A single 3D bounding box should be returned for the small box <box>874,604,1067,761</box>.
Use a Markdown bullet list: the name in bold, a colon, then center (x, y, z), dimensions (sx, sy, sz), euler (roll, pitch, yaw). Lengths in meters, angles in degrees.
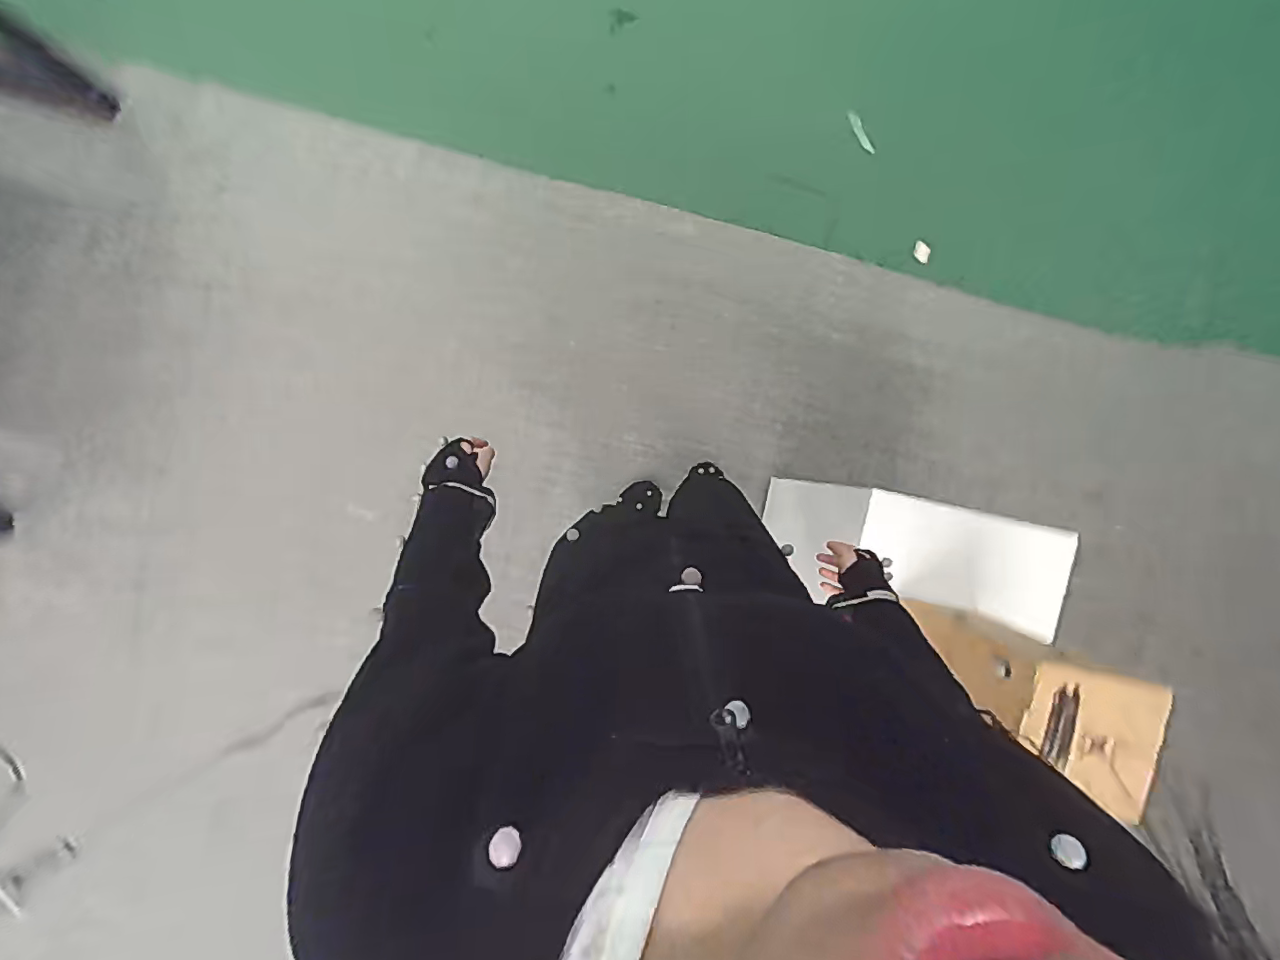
- **small box**: center (0.505, 0.305, 0.848), dimensions (0.179, 0.176, 0.168), euler (13, 90, -5)
